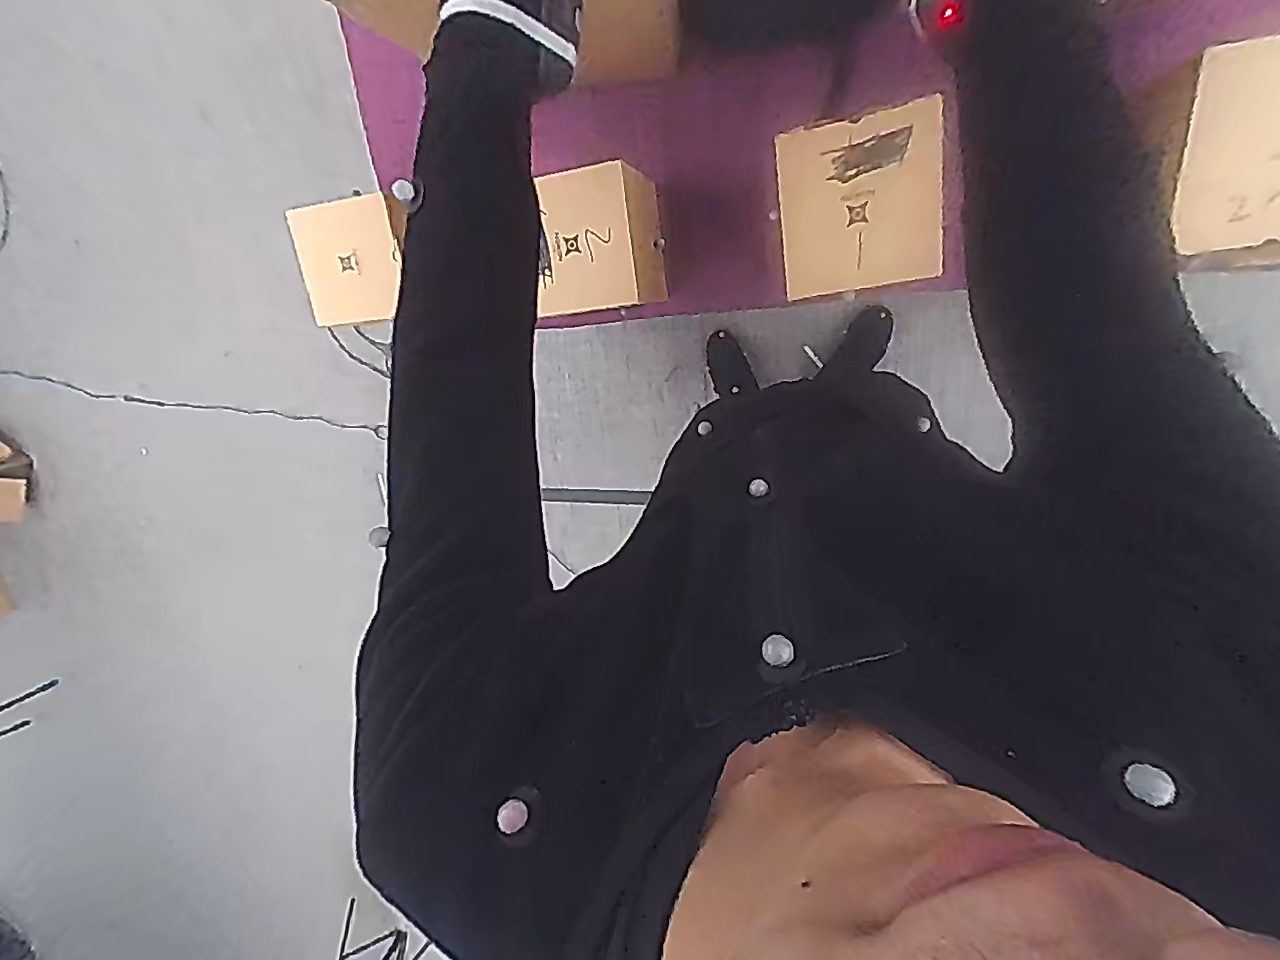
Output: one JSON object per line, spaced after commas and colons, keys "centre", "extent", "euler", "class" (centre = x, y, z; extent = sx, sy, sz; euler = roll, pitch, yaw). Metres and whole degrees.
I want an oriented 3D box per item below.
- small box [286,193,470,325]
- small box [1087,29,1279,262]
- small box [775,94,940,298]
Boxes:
{"centre": [-0.400, -0.338, 0.853], "extent": [0.179, 0.176, 0.168], "euler": [-1, 109, 16], "class": "small box"}
{"centre": [0.600, -0.327, 0.552], "extent": [0.168, 0.176, 0.179], "euler": [1, 109, 18], "class": "small box"}
{"centre": [0.256, -0.325, 0.659], "extent": [0.168, 0.176, 0.179], "euler": [-4, 109, 19], "class": "small box"}
